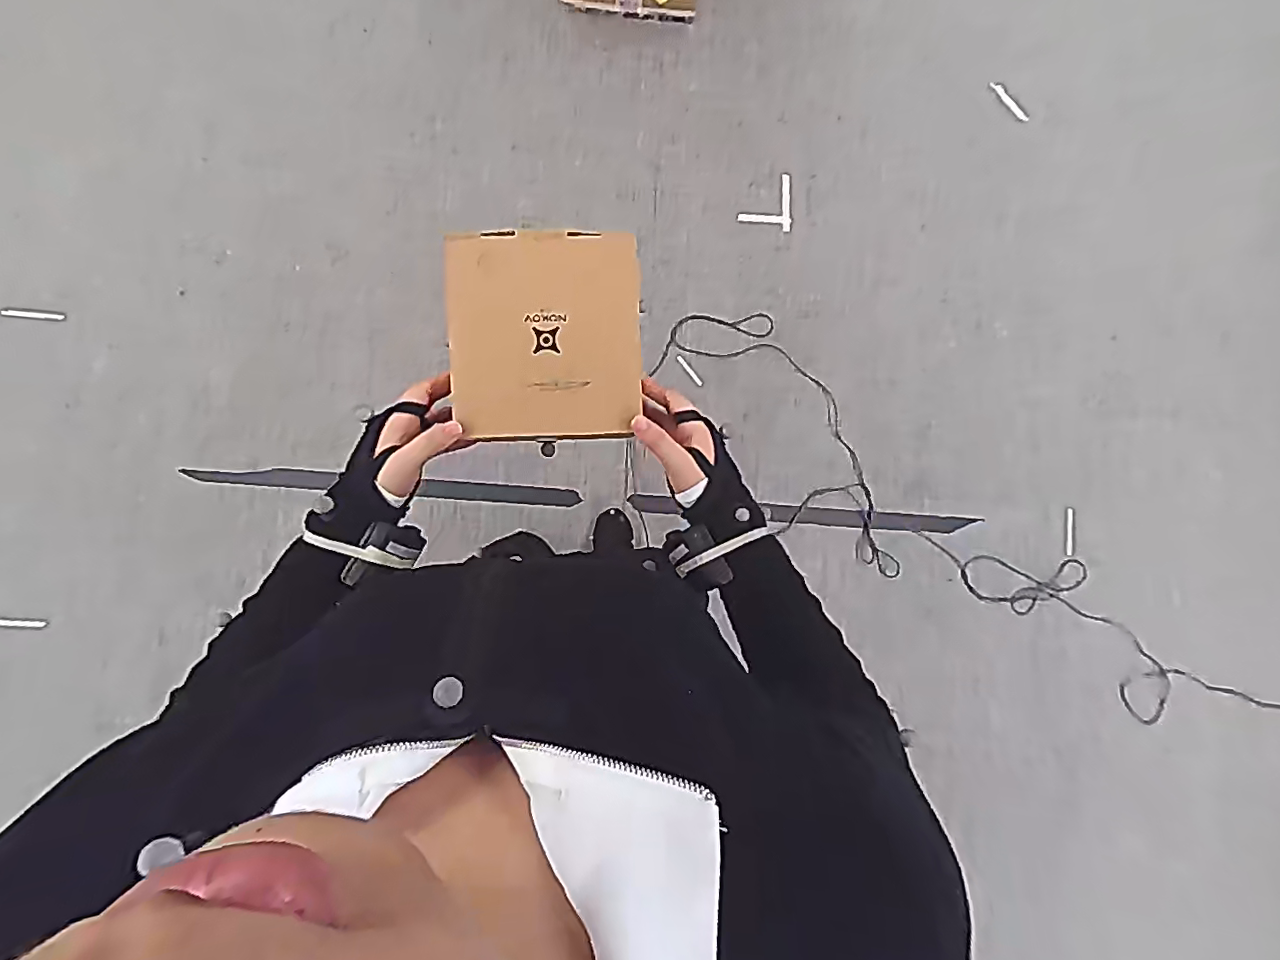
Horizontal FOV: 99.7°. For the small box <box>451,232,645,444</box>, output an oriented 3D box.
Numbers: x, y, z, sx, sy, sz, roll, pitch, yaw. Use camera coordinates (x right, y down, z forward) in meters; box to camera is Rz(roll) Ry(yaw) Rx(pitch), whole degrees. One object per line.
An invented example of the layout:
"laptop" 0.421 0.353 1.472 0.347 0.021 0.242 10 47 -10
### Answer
"small box" -0.087 -0.127 0.546 0.168 0.176 0.179 -2 93 -5
